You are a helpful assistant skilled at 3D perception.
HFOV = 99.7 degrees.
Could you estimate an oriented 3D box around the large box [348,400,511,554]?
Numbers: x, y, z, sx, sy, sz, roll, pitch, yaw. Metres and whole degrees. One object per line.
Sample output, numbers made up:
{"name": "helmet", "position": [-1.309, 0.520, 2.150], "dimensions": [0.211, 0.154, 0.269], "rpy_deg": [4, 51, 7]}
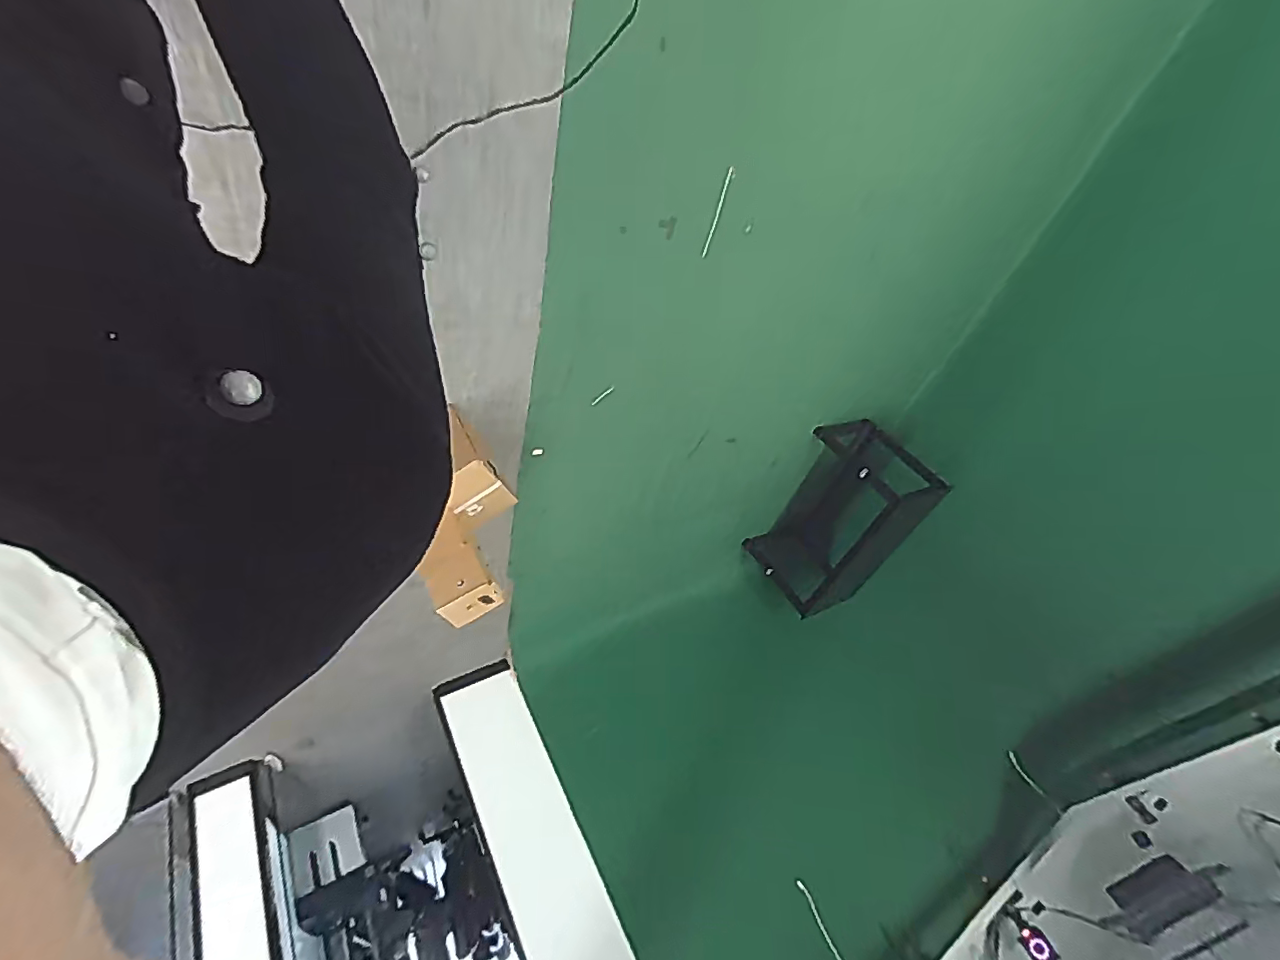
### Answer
{"name": "large box", "position": [-0.756, -0.010, 1.959], "dimensions": [0.408, 0.320, 0.320], "rpy_deg": [-34, 149, -5]}

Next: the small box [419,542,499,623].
{"name": "small box", "position": [-0.597, 0.332, 1.777], "dimensions": [0.179, 0.176, 0.168], "rpy_deg": [-29, 147, -10]}

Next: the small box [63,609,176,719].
{"name": "small box", "position": [-1.240, 0.428, 1.293], "dimensions": [0.168, 0.176, 0.179], "rpy_deg": [-11, 140, -36]}
